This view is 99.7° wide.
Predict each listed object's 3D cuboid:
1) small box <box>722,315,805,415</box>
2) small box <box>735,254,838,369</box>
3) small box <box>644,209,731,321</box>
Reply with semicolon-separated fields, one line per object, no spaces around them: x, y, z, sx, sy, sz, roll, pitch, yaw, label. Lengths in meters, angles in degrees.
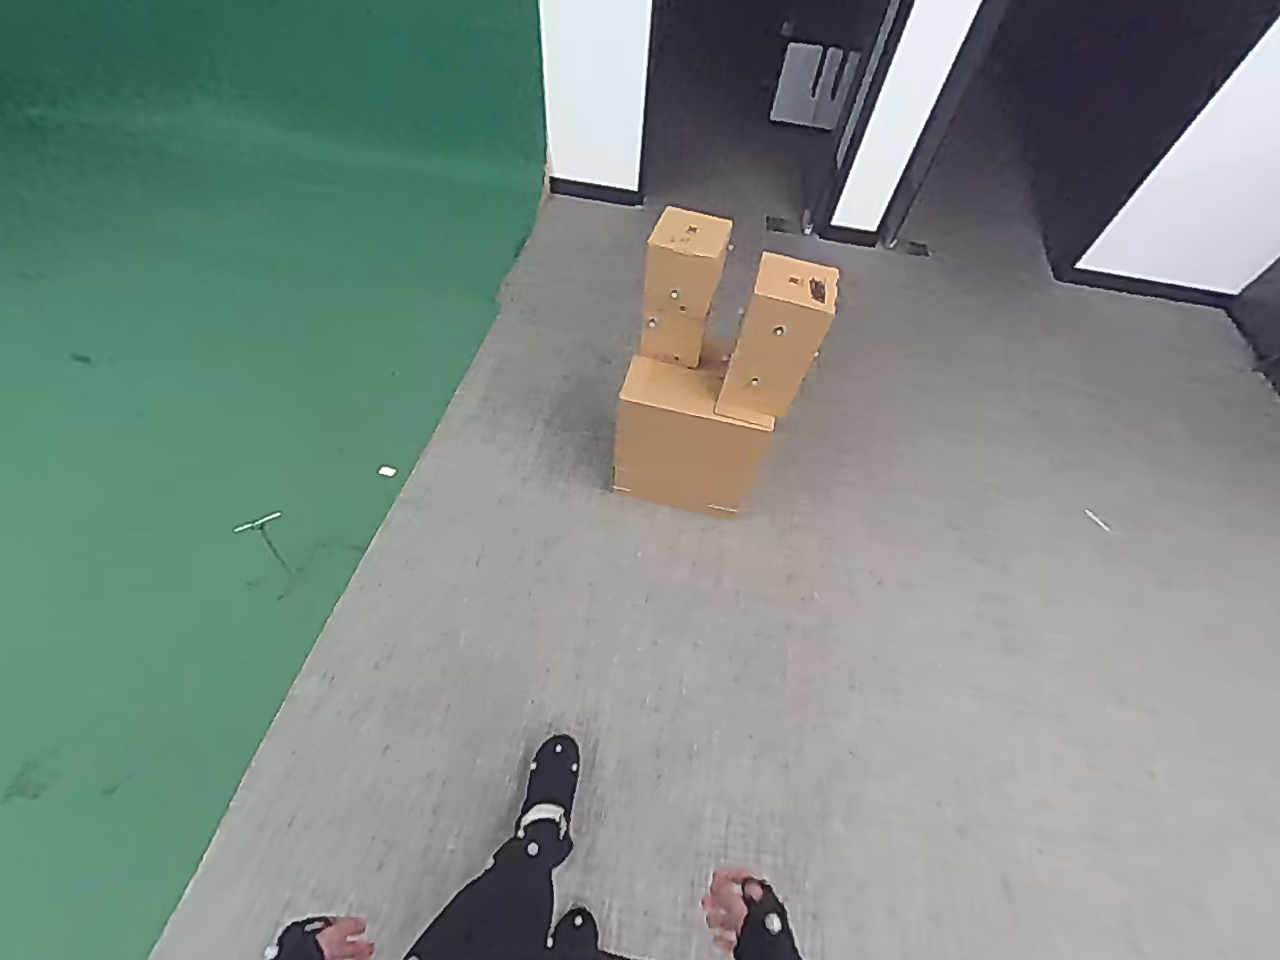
0.314;-0.287;1.371;0.179;0.176;0.168;14;57;5;small box
0.331;-0.379;1.237;0.179;0.176;0.168;15;56;5;small box
0.112;-0.523;1.321;0.168;0.176;0.179;16;56;7;small box
